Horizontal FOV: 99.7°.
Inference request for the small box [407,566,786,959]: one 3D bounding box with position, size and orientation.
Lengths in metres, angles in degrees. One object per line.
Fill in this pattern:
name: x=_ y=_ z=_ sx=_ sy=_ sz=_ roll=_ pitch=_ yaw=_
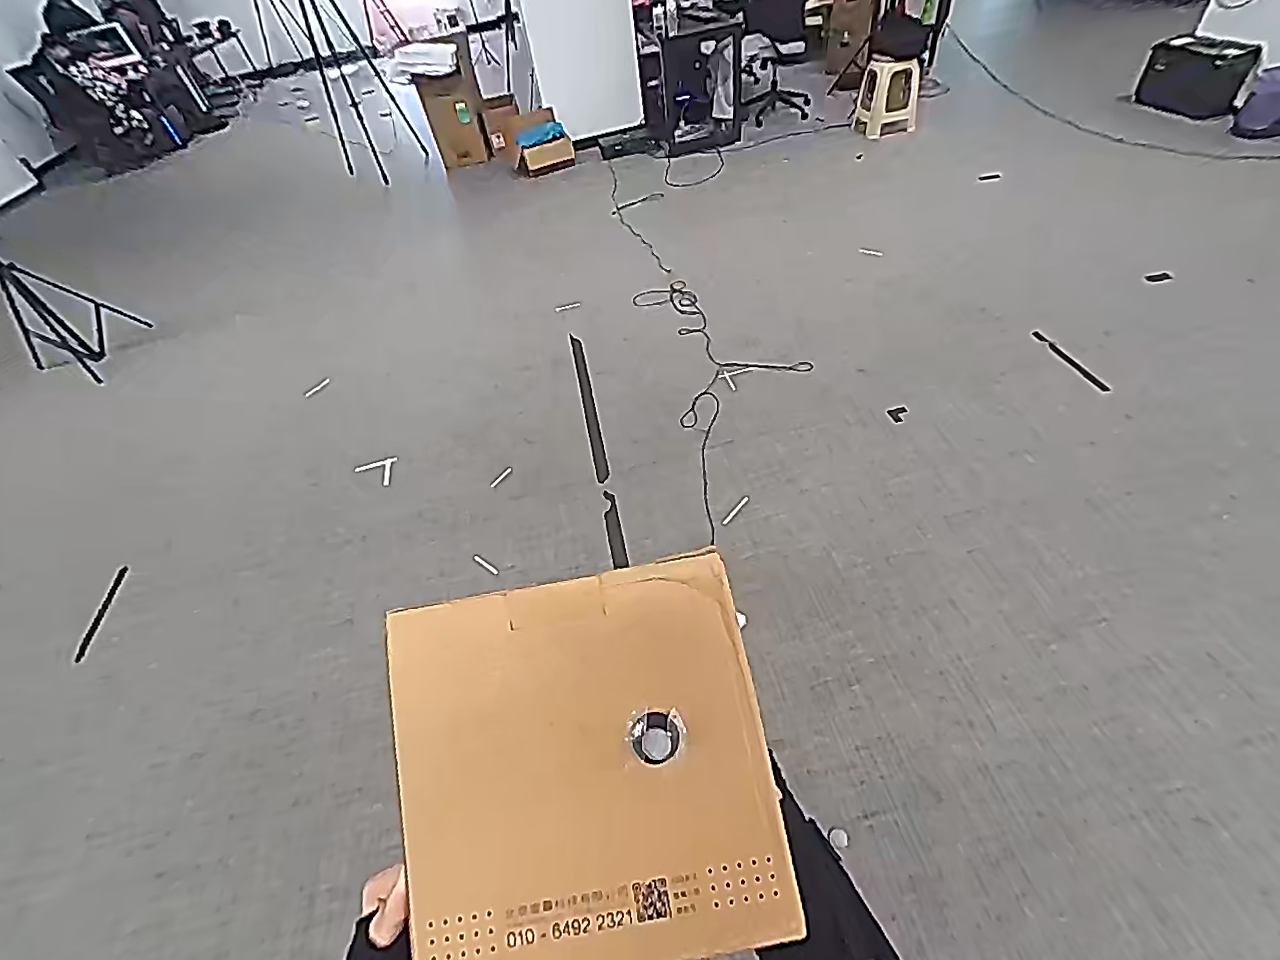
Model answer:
small box: x=-0.020 y=0.156 z=0.339 sx=0.168 sy=0.179 sz=0.176 roll=-11 pitch=78 yaw=0
